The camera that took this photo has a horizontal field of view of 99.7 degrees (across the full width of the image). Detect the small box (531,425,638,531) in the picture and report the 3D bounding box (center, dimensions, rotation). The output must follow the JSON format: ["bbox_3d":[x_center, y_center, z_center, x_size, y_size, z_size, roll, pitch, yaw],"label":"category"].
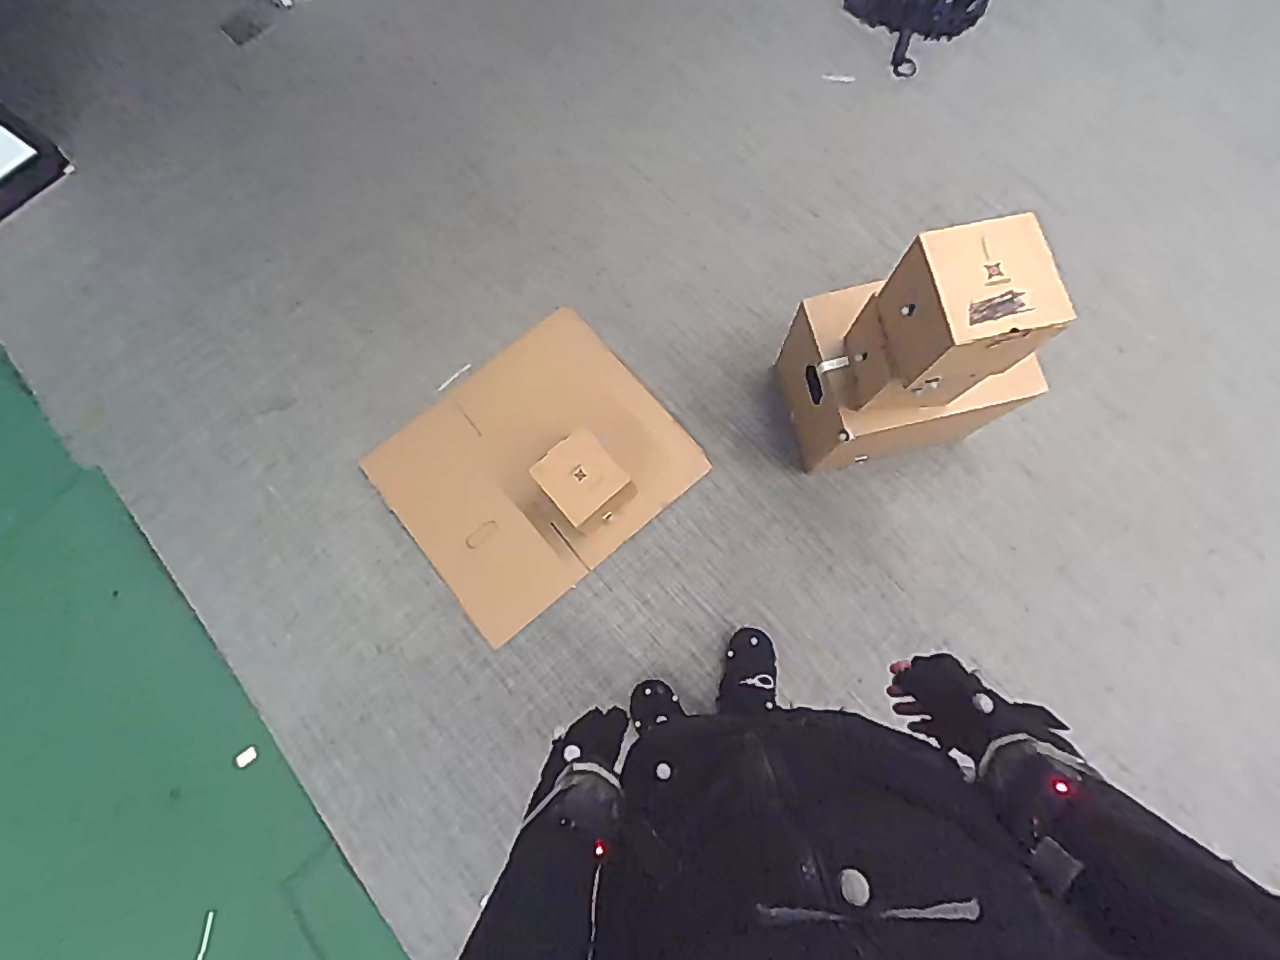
[{"bbox_3d":[-0.124,0.004,1.280,0.168,0.176,0.179,-42,78,-4],"label":"small box"}]

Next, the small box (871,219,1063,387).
[{"bbox_3d":[0.483,-0.256,0.829,0.168,0.176,0.179,-13,78,1],"label":"small box"}]

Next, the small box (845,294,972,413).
[{"bbox_3d":[0.493,-0.234,0.995,0.179,0.176,0.168,-8,76,1],"label":"small box"}]
